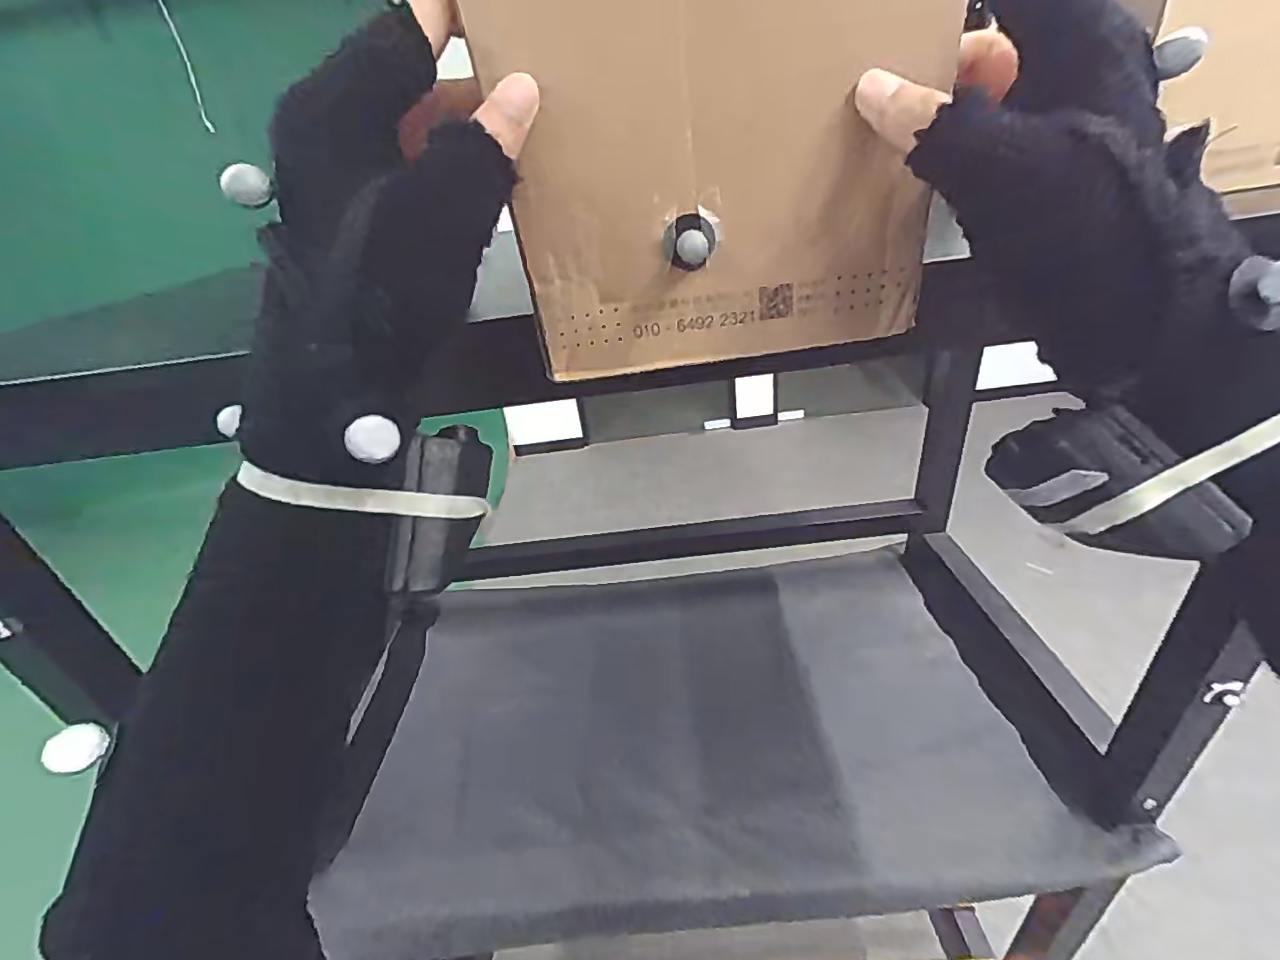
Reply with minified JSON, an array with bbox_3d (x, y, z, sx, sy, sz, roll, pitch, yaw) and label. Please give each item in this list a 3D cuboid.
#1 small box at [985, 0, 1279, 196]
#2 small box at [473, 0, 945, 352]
[{"bbox_3d":[0.392,-0.315,0.400,0.168,0.176,0.179,-5,29,6],"label":"small box"},{"bbox_3d":[0.024,-0.181,0.272,0.168,0.176,0.179,-8,37,2],"label":"small box"}]
